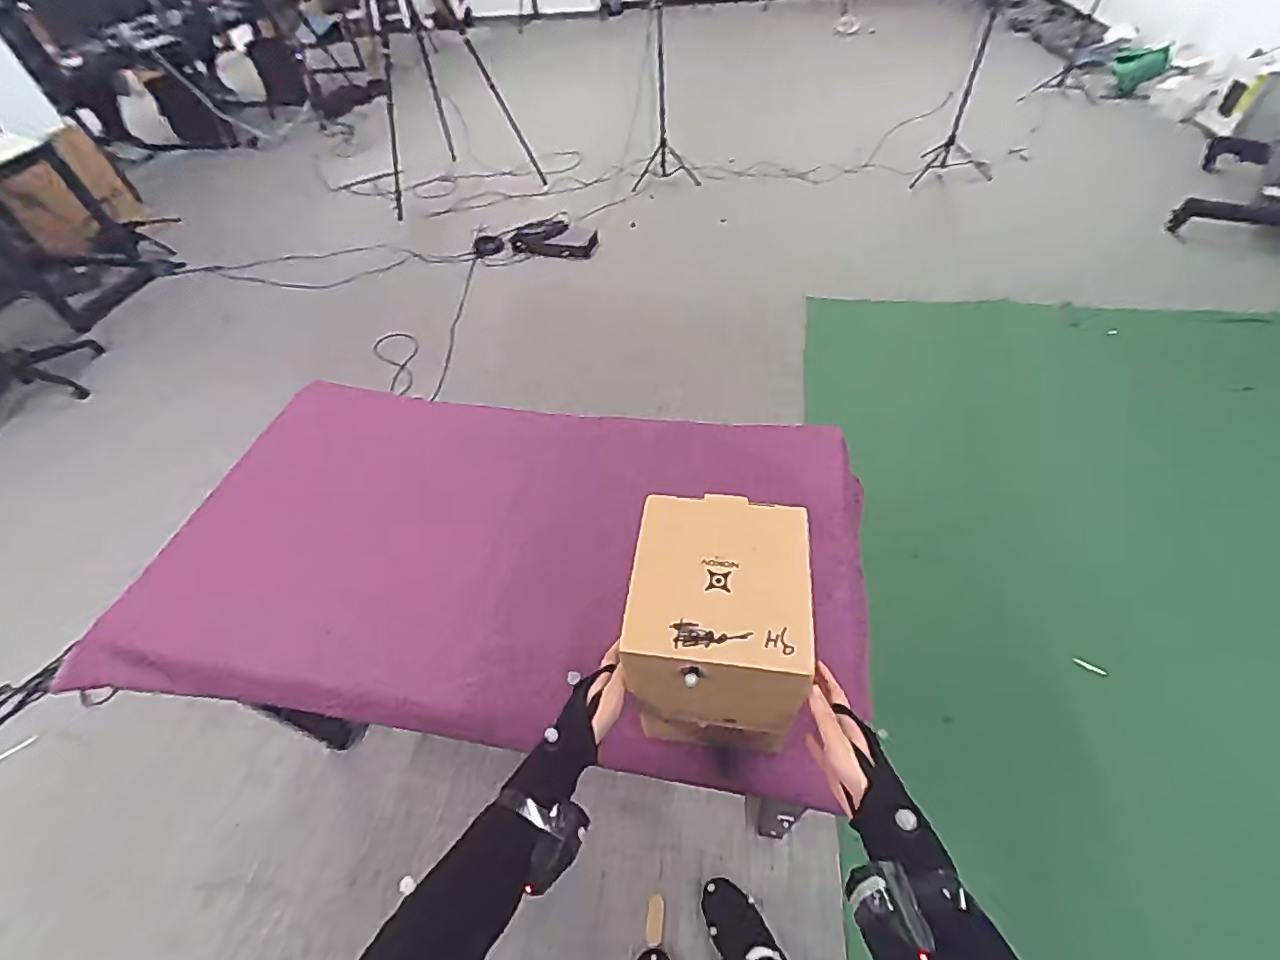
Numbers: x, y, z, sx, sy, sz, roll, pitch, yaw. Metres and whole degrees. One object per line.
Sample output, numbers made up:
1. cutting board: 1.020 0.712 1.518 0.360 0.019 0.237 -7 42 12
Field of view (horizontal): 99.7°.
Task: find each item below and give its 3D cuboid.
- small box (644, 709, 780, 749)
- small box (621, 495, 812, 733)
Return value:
1. small box: 0.098 0.235 0.704 0.179 0.176 0.168 4 51 8
2. small box: 0.081 0.140 0.569 0.168 0.176 0.179 4 49 10
